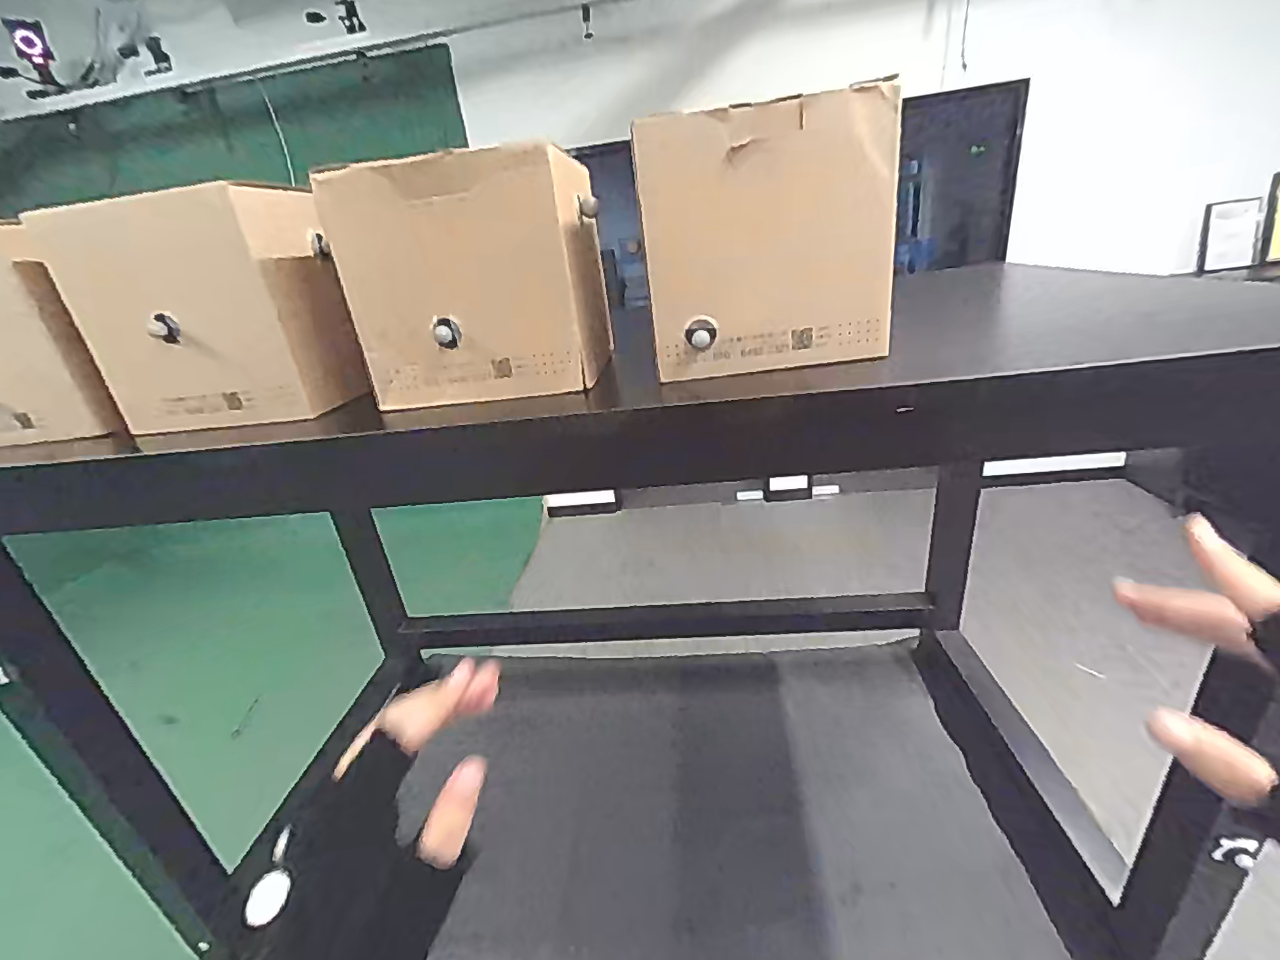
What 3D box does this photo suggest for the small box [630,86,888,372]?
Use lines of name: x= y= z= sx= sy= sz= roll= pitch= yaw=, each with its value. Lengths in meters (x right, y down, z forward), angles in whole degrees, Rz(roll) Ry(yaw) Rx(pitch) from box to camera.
small box: x=0.087 y=-0.189 z=0.444 sx=0.168 sy=0.176 sz=0.179 roll=-6 pitch=22 yaw=3
